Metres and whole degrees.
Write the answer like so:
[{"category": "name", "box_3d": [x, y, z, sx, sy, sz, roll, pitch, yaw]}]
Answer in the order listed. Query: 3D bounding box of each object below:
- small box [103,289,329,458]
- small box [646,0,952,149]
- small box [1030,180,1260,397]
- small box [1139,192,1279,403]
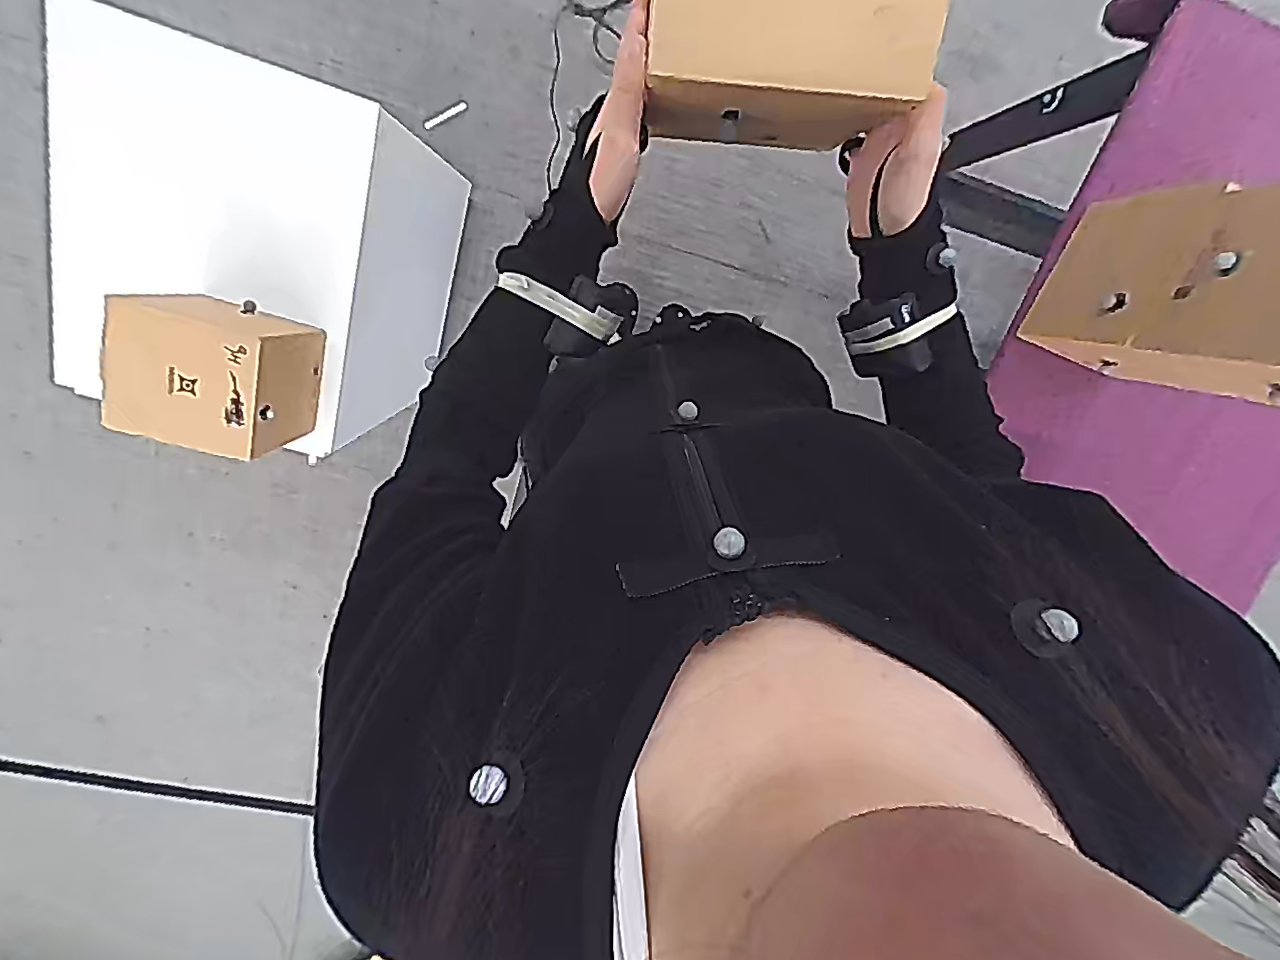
[{"category": "small box", "box_3d": [-0.562, -0.148, 0.734, 0.179, 0.176, 0.168, 15, 107, -8]}, {"category": "small box", "box_3d": [0.091, -0.333, 0.352, 0.168, 0.176, 0.179, 3, 110, -2]}, {"category": "small box", "box_3d": [0.623, -0.221, 0.647, 0.168, 0.176, 0.179, 19, 106, -10]}, {"category": "small box", "box_3d": [0.641, -0.161, 0.495, 0.179, 0.176, 0.168, 18, 107, -9]}]
